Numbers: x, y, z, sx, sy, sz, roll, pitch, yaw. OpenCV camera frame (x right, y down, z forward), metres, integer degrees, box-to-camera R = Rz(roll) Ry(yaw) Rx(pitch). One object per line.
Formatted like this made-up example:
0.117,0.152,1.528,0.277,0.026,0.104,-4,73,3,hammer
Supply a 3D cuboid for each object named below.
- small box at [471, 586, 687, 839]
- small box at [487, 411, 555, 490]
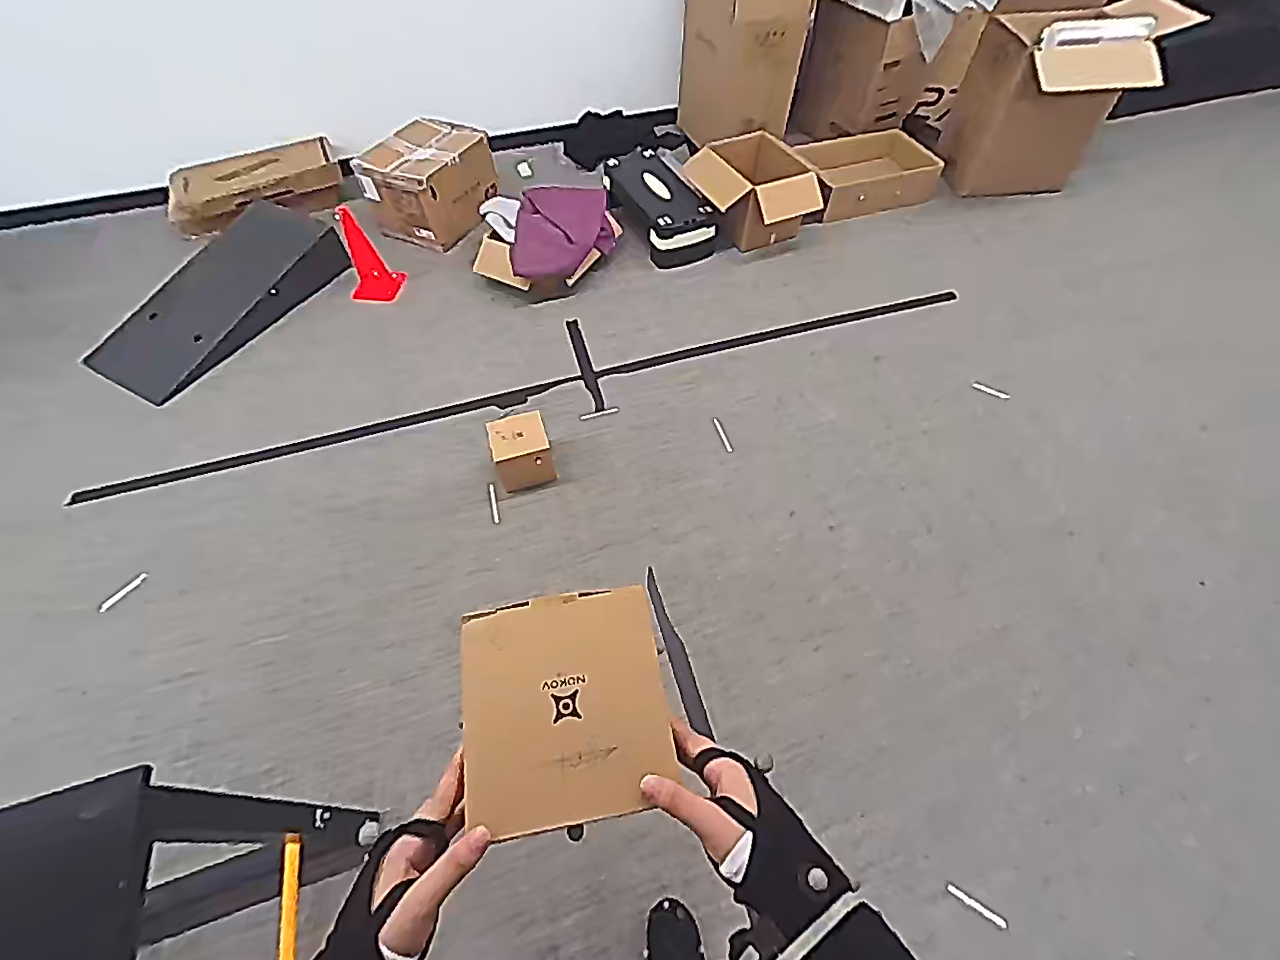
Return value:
-0.060,0.221,0.519,0.168,0.176,0.179,-8,62,-6,small box
-0.377,-0.092,1.747,0.179,0.176,0.168,-16,57,-9,small box
